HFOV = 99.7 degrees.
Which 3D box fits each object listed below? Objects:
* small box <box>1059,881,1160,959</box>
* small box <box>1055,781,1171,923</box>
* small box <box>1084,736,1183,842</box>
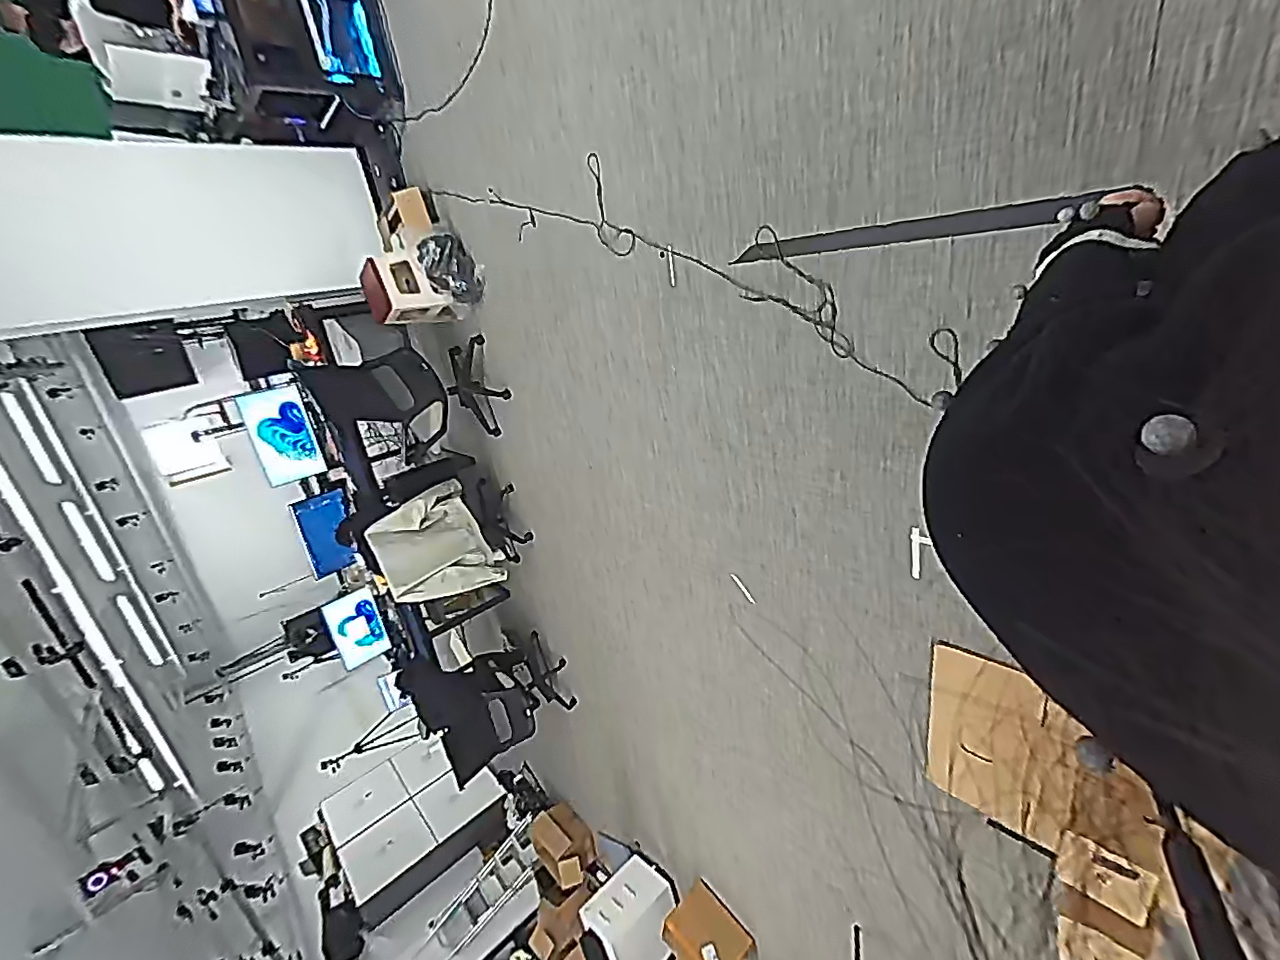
[{"bbox_3d":[1.159,1.106,1.335,0.168,0.176,0.179,7,116,48],"label":"small box"},{"bbox_3d":[1.102,0.852,1.259,0.168,0.176,0.179,16,123,46],"label":"small box"},{"bbox_3d":[1.222,0.785,1.348,0.168,0.176,0.179,12,120,48],"label":"small box"}]
